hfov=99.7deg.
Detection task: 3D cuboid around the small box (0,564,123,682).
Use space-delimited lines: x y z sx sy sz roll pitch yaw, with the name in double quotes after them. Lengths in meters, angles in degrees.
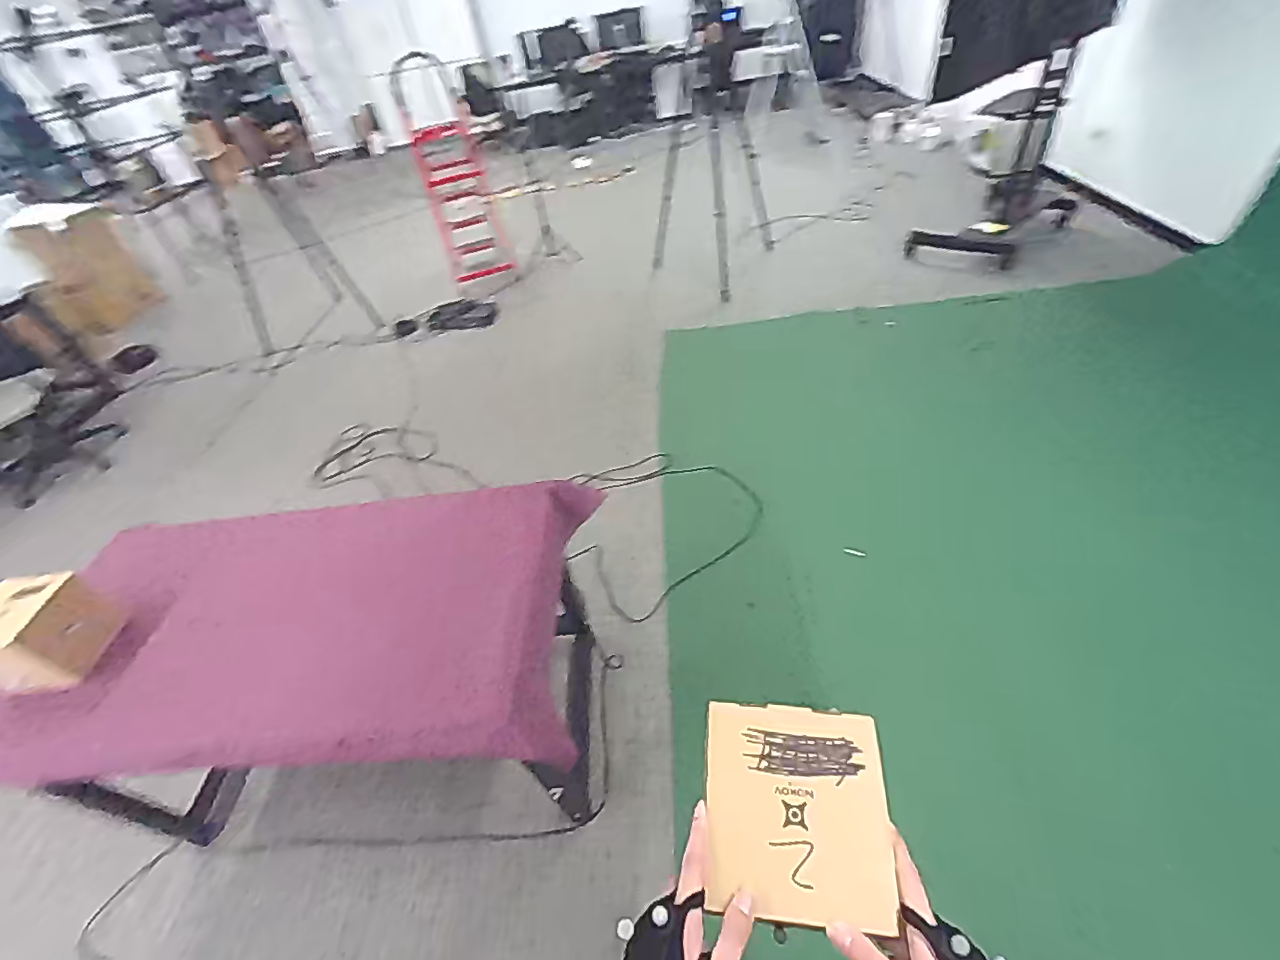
-1.261 0.301 1.137 0.168 0.176 0.179 -7 44 4 "small box"
